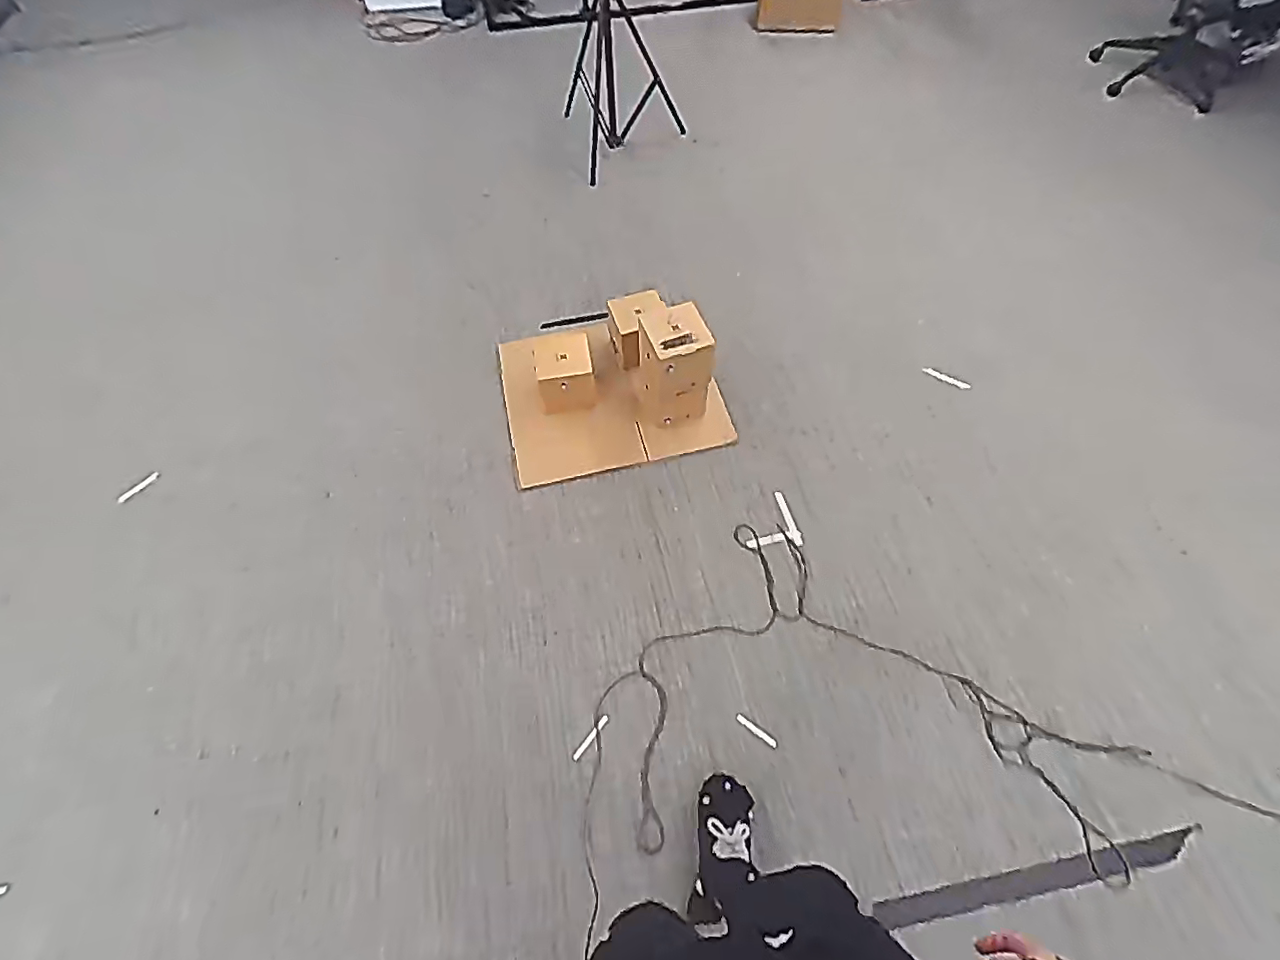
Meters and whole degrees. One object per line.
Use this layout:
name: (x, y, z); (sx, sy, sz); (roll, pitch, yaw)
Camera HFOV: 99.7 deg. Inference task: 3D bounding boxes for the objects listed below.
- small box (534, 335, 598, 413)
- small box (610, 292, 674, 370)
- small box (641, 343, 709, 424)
small box: (-0.233, -0.336, 1.735); (0.179, 0.176, 0.168); (-10, 60, -3)
small box: (0.006, -0.501, 1.828); (0.179, 0.176, 0.168); (-17, 60, -7)
small box: (0.108, -0.296, 1.705); (0.168, 0.176, 0.179); (-16, 61, -8)
